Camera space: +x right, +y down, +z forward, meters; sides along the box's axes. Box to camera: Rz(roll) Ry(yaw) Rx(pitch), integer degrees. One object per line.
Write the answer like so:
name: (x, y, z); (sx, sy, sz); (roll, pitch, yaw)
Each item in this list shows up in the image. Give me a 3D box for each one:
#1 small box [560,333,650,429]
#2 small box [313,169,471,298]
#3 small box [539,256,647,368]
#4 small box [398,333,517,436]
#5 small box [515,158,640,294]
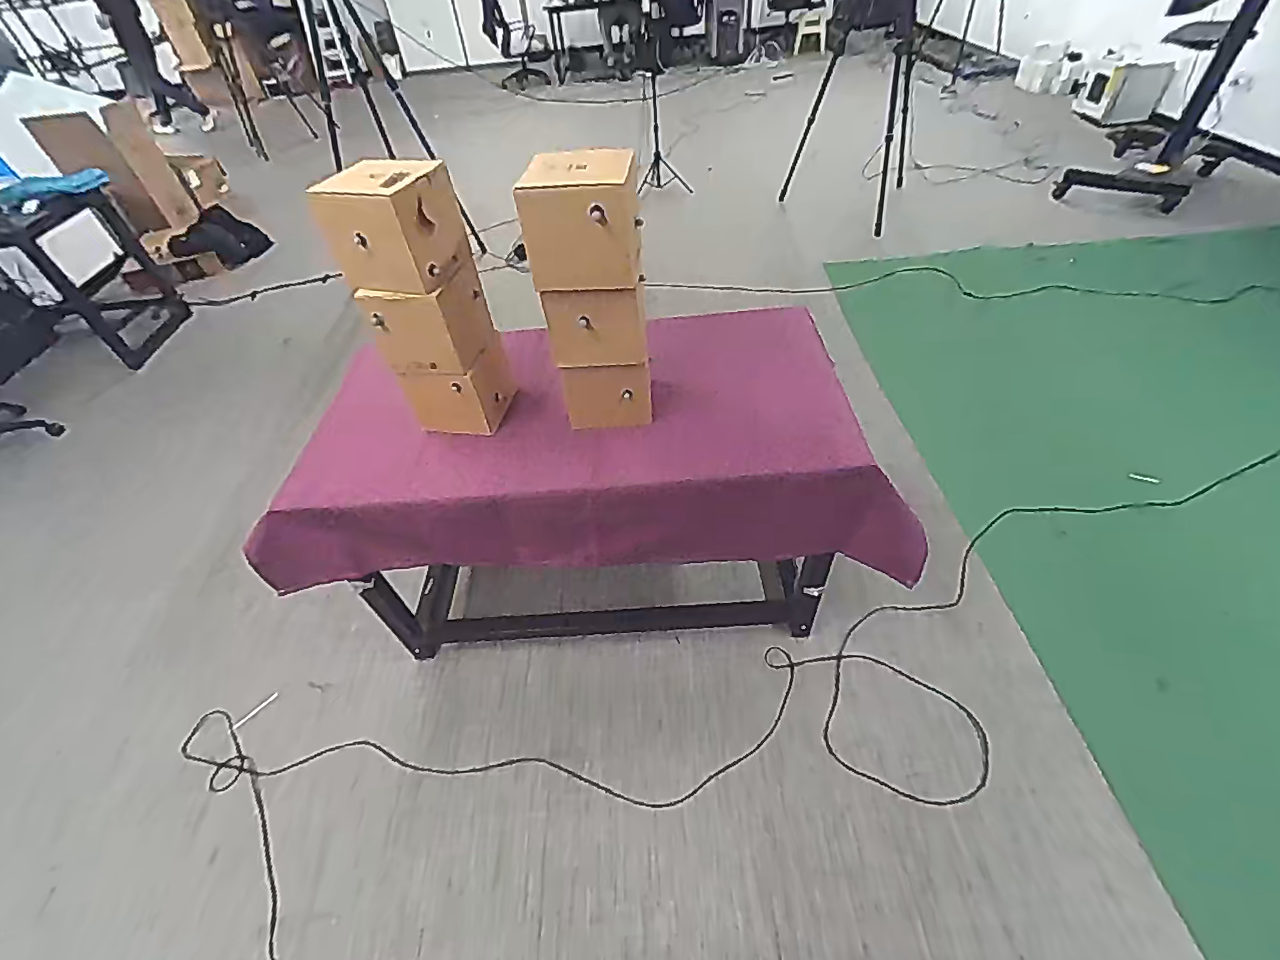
small box: (-0.068, -0.227, 1.192); (0.179, 0.176, 0.168); (-3, 45, 4)
small box: (-0.439, -0.451, 0.993); (0.179, 0.176, 0.168); (9, 47, 15)
small box: (-0.084, -0.335, 1.069); (0.179, 0.176, 0.168); (-2, 46, 5)
small box: (-0.400, -0.213, 1.218); (0.179, 0.176, 0.168); (4, 47, 10)
small box: (-0.096, -0.438, 0.940); (0.179, 0.176, 0.168); (1, 45, 7)
